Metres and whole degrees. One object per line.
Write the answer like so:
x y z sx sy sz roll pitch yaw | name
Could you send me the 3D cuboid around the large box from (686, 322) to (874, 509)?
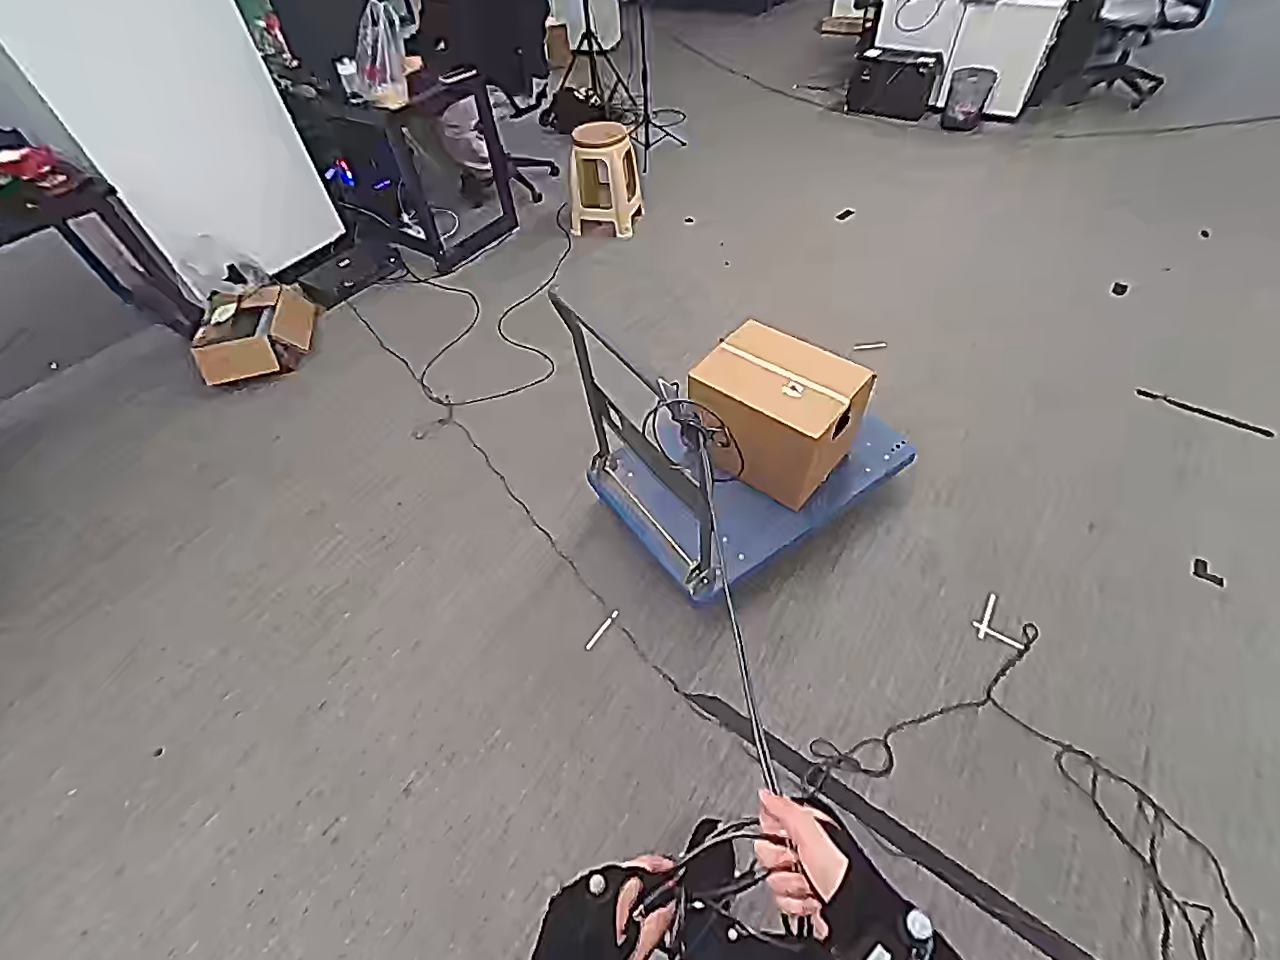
0.382 -0.191 1.570 0.408 0.320 0.320 33 62 26 | large box
